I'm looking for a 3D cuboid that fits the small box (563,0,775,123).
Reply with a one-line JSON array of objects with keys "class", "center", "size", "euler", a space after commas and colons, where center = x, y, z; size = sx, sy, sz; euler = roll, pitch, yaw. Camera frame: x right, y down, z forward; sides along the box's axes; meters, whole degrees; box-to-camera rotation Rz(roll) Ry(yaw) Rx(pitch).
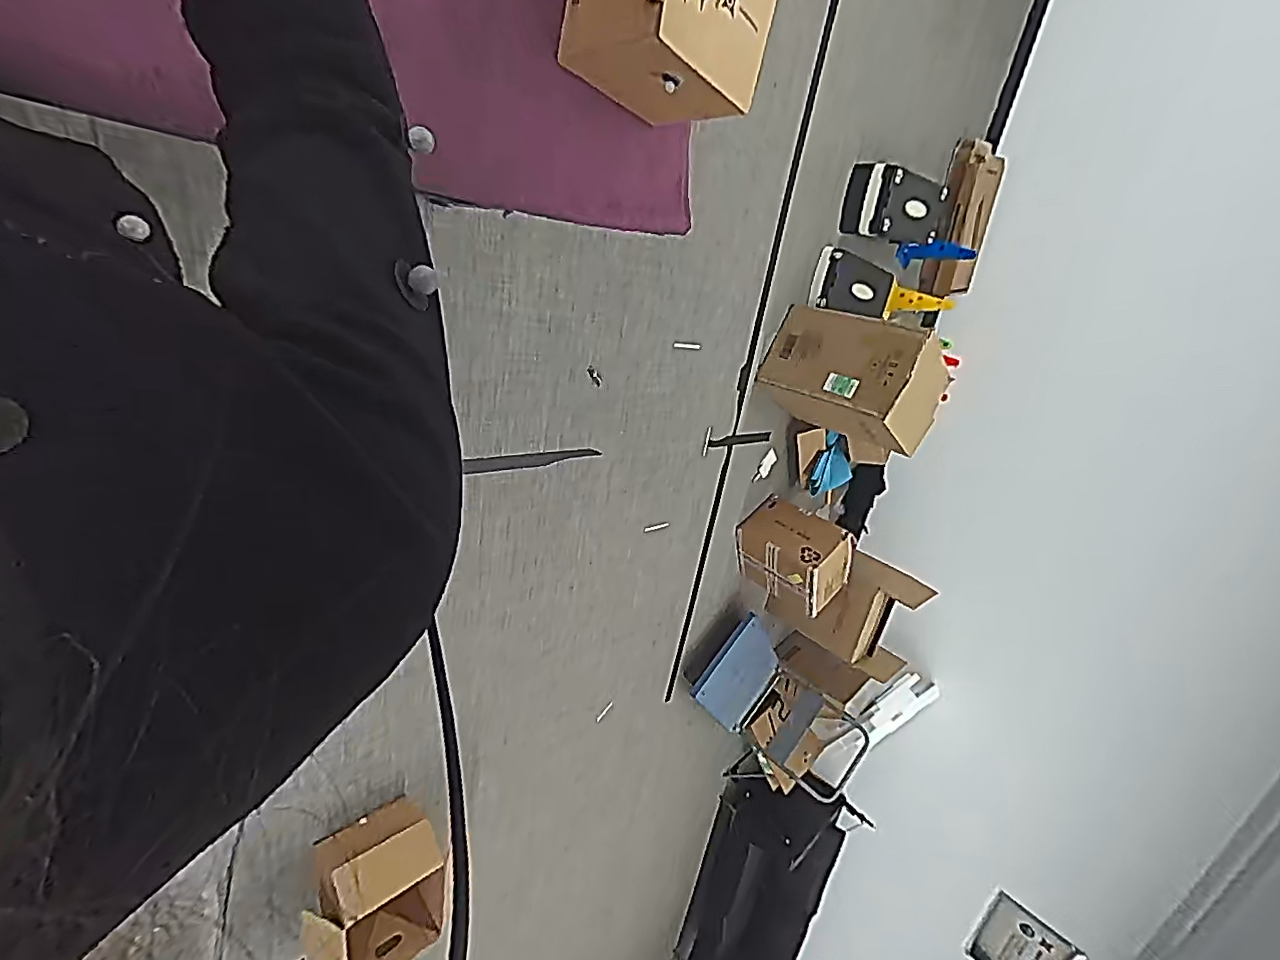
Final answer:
[{"class": "small box", "center": [0.034, -0.545, 0.634], "size": [0.179, 0.176, 0.168], "euler": [-3, 112, -47]}]
